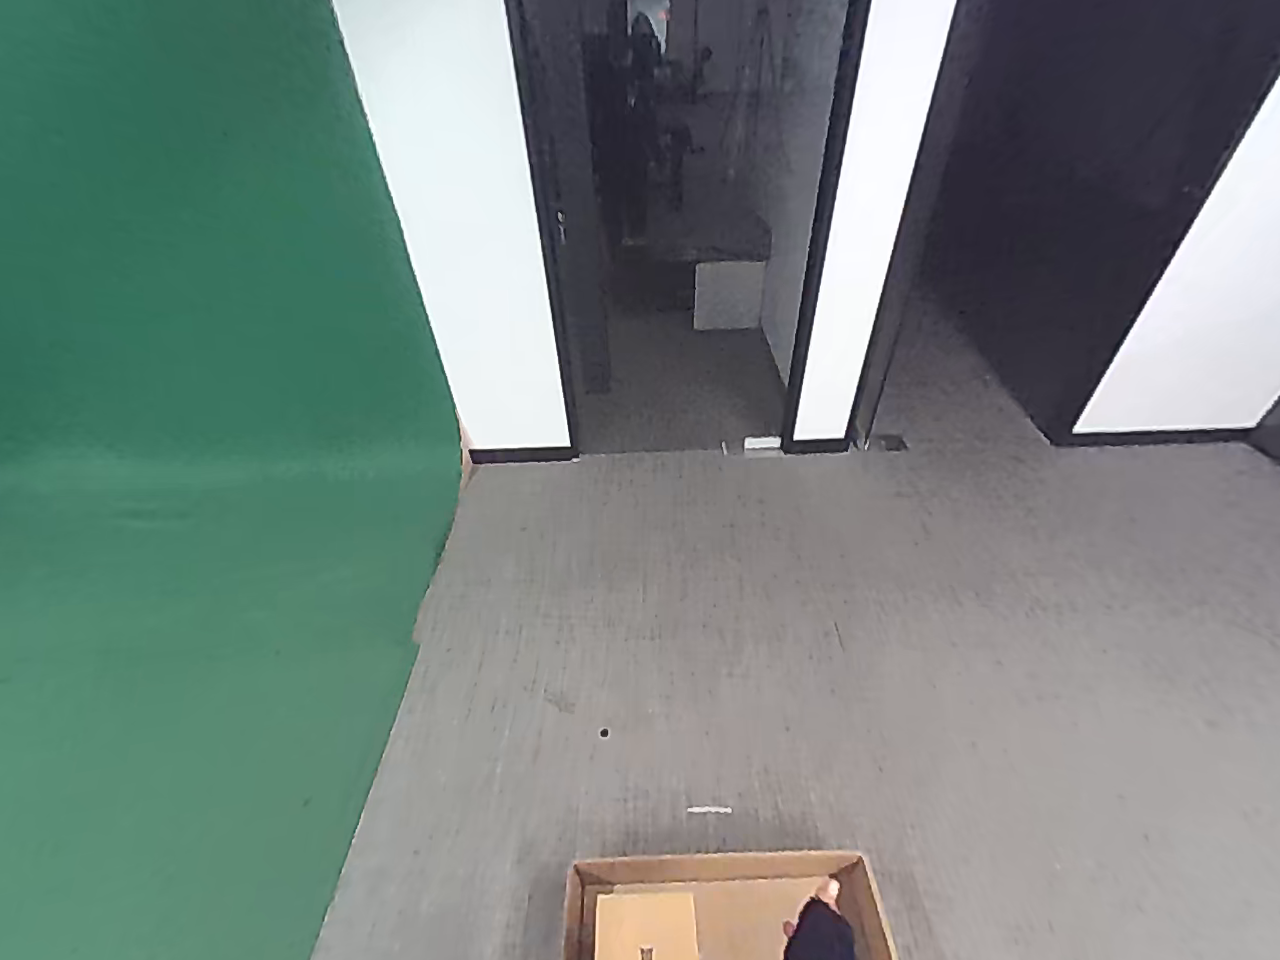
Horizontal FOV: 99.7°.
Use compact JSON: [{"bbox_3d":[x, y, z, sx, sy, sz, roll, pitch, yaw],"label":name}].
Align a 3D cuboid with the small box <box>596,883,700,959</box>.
[{"bbox_3d":[0.012,0.804,0.902,0.168,0.176,0.179,-1,40,0],"label":"small box"}]
